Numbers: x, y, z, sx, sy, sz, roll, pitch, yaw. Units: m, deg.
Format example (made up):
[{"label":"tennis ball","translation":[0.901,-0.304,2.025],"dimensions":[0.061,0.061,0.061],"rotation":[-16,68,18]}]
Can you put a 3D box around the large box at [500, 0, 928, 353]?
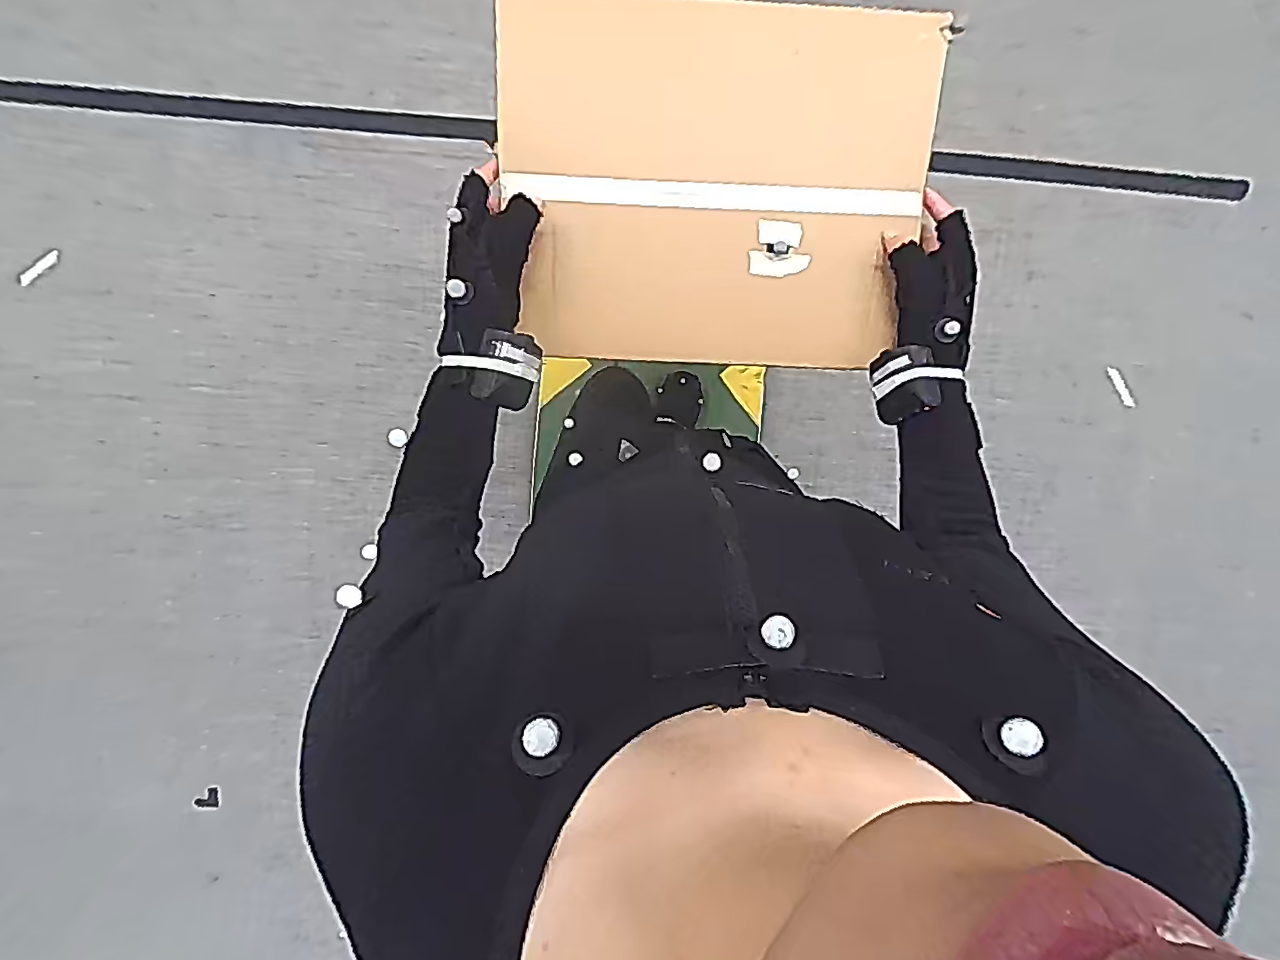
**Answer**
[{"label":"large box","translation":[0.062,-0.325,0.676],"dimensions":[0.408,0.320,0.320],"rotation":[1,106,-3]}]
